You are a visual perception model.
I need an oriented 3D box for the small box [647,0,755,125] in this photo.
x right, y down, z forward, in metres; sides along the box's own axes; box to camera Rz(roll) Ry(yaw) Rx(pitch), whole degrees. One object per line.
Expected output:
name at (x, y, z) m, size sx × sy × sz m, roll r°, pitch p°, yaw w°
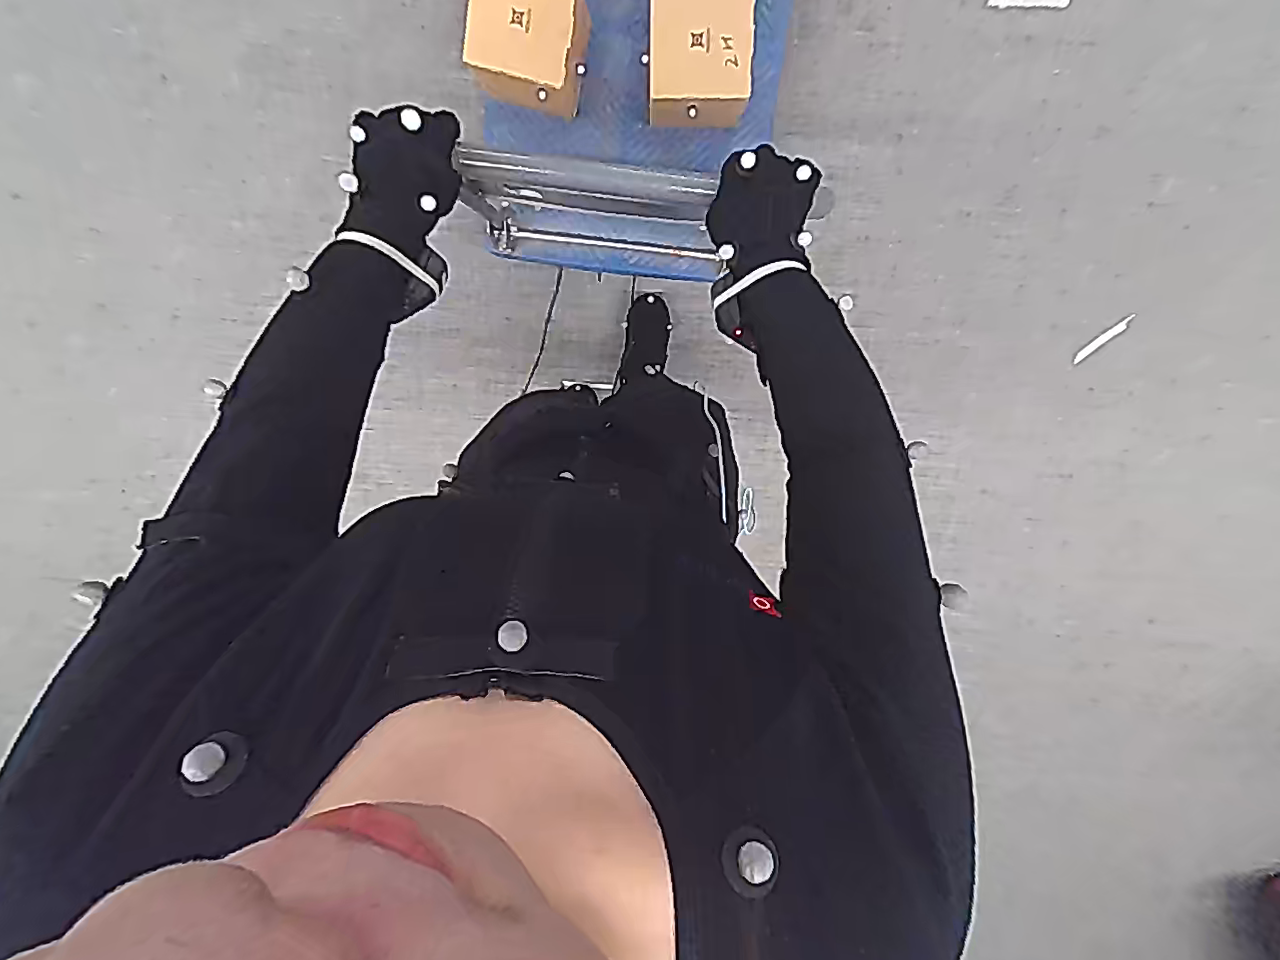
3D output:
small box at (0.103, -0.757, 0.973) m, size 0.179 × 0.176 × 0.168 m, roll 0°, pitch 109°, yaw 1°

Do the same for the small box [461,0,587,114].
small box at (-0.200, -0.789, 0.967) m, size 0.179 × 0.176 × 0.168 m, roll 12°, pitch 108°, yaw -4°
